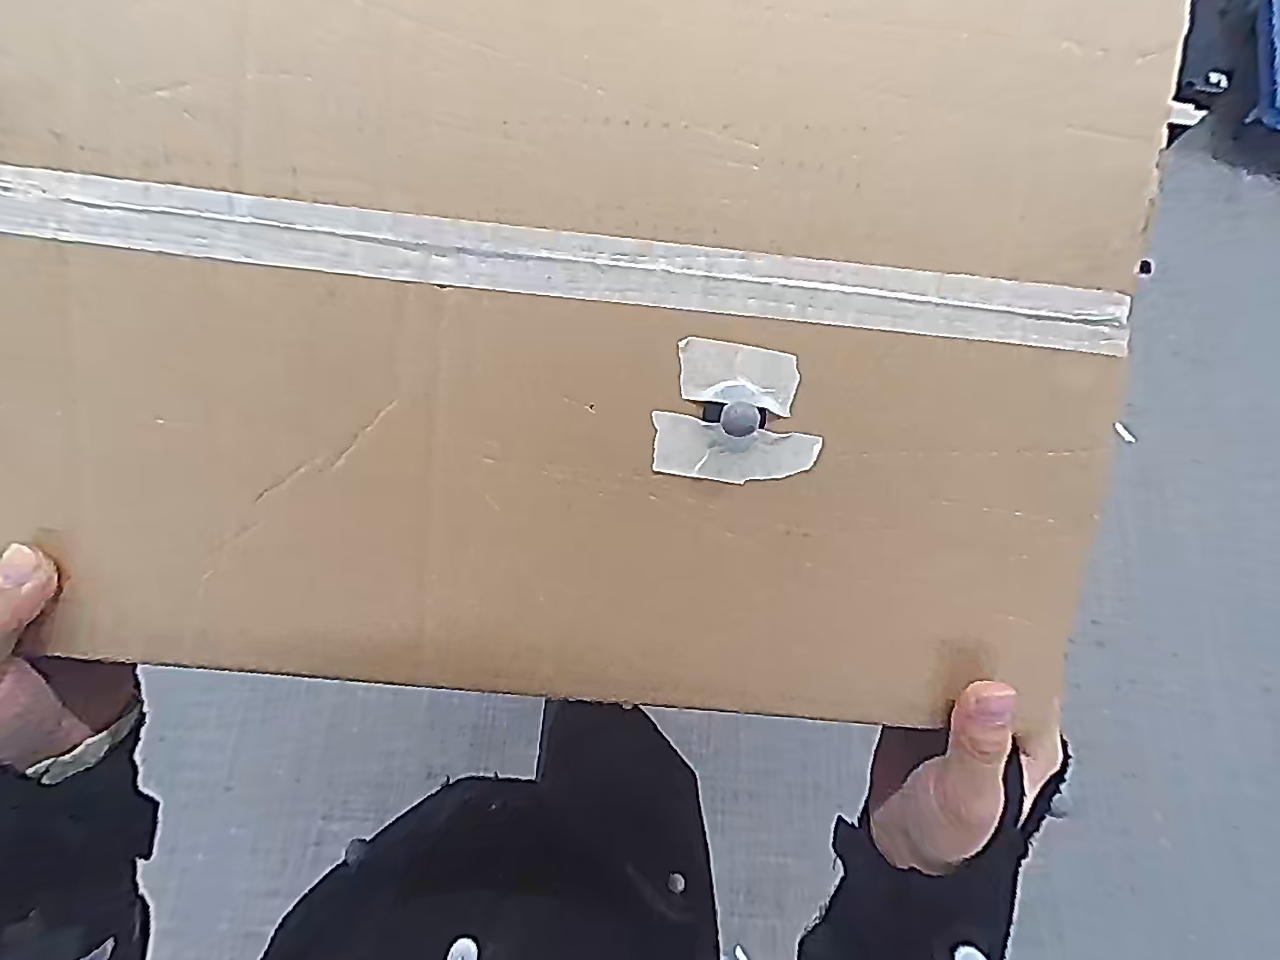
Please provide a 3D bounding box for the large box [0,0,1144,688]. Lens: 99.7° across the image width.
[{"bbox_3d":[-0.032,-0.094,0.346,0.408,0.320,0.320,5,97,-3],"label":"large box"}]
